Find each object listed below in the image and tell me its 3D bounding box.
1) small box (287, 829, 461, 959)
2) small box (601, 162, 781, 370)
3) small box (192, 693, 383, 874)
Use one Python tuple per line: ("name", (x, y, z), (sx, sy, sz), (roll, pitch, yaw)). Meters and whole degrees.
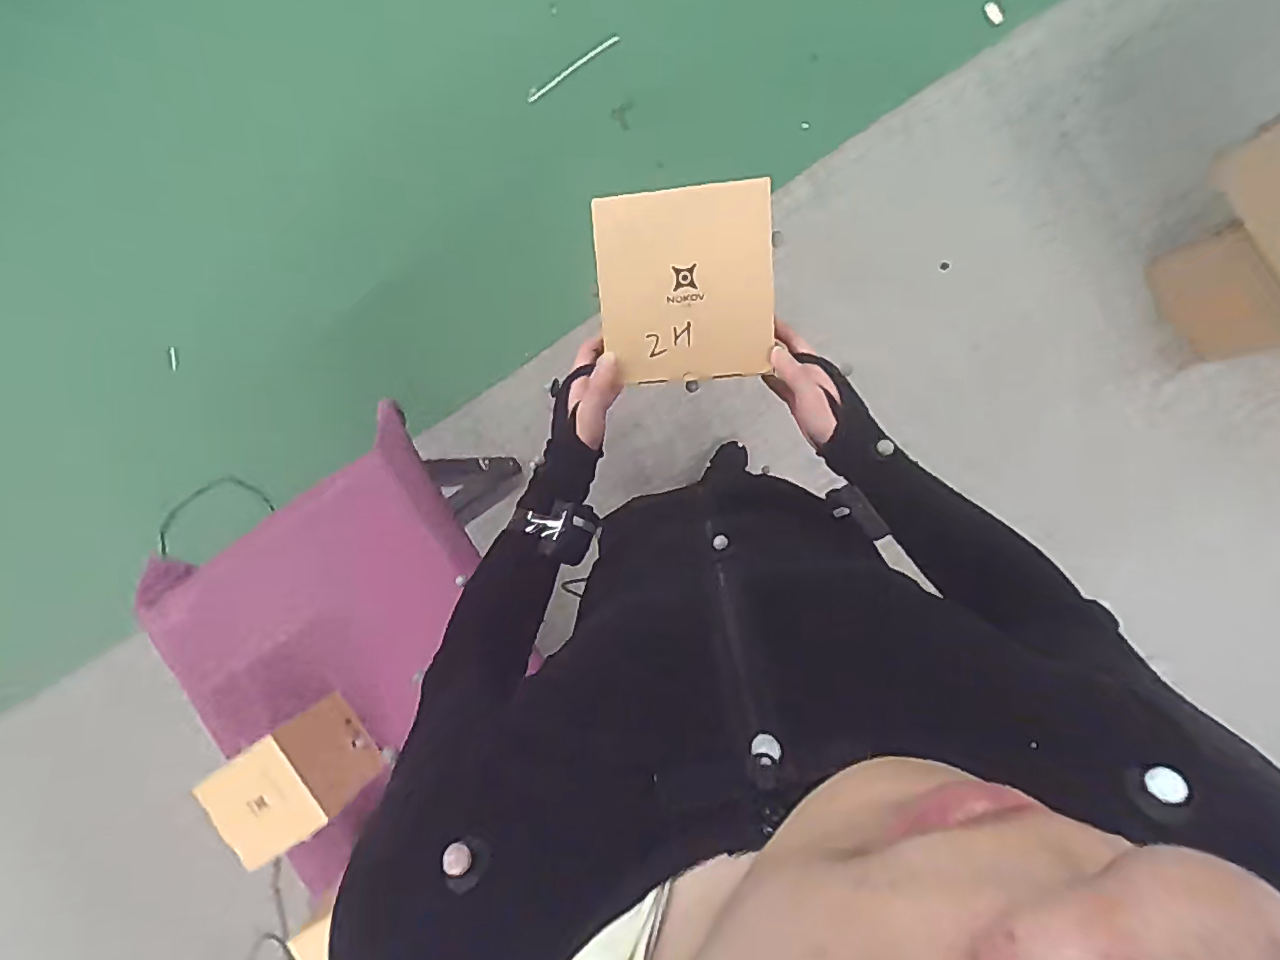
("small box", (-0.430, 0.741, 0.911), (0.179, 0.176, 0.168), (-34, 88, 8))
("small box", (0.057, -0.211, 0.580), (0.168, 0.176, 0.179), (-2, 103, 8))
("small box", (-0.585, 0.503, 0.920), (0.179, 0.176, 0.168), (-35, 89, 6))
